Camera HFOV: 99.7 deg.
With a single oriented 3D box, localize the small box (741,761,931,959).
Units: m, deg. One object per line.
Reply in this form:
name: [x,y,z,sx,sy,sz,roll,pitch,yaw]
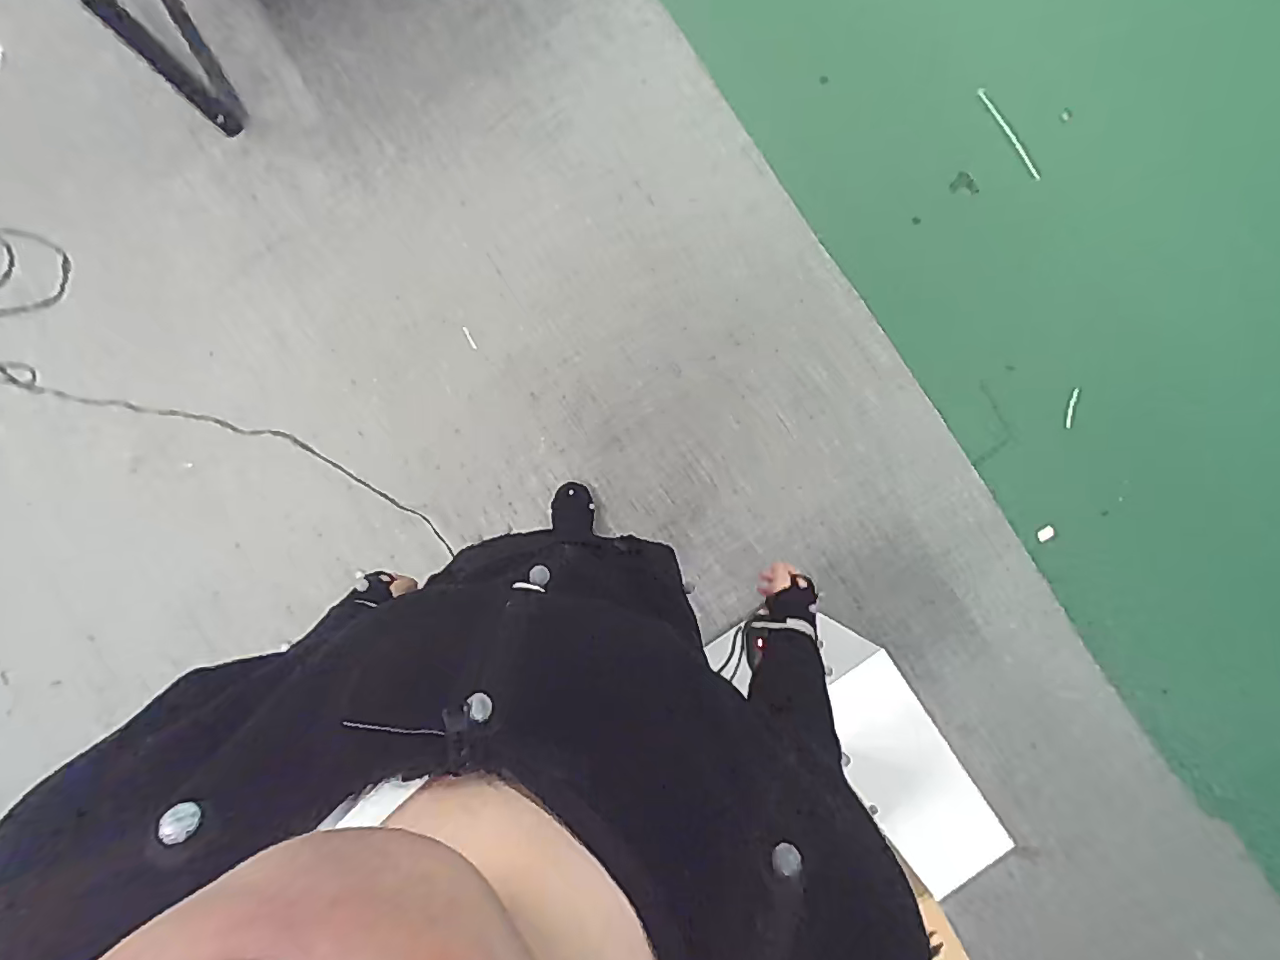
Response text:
small box: [0.272,0.560,0.792,0.168,0.176,0.179,-30,89,-4]
